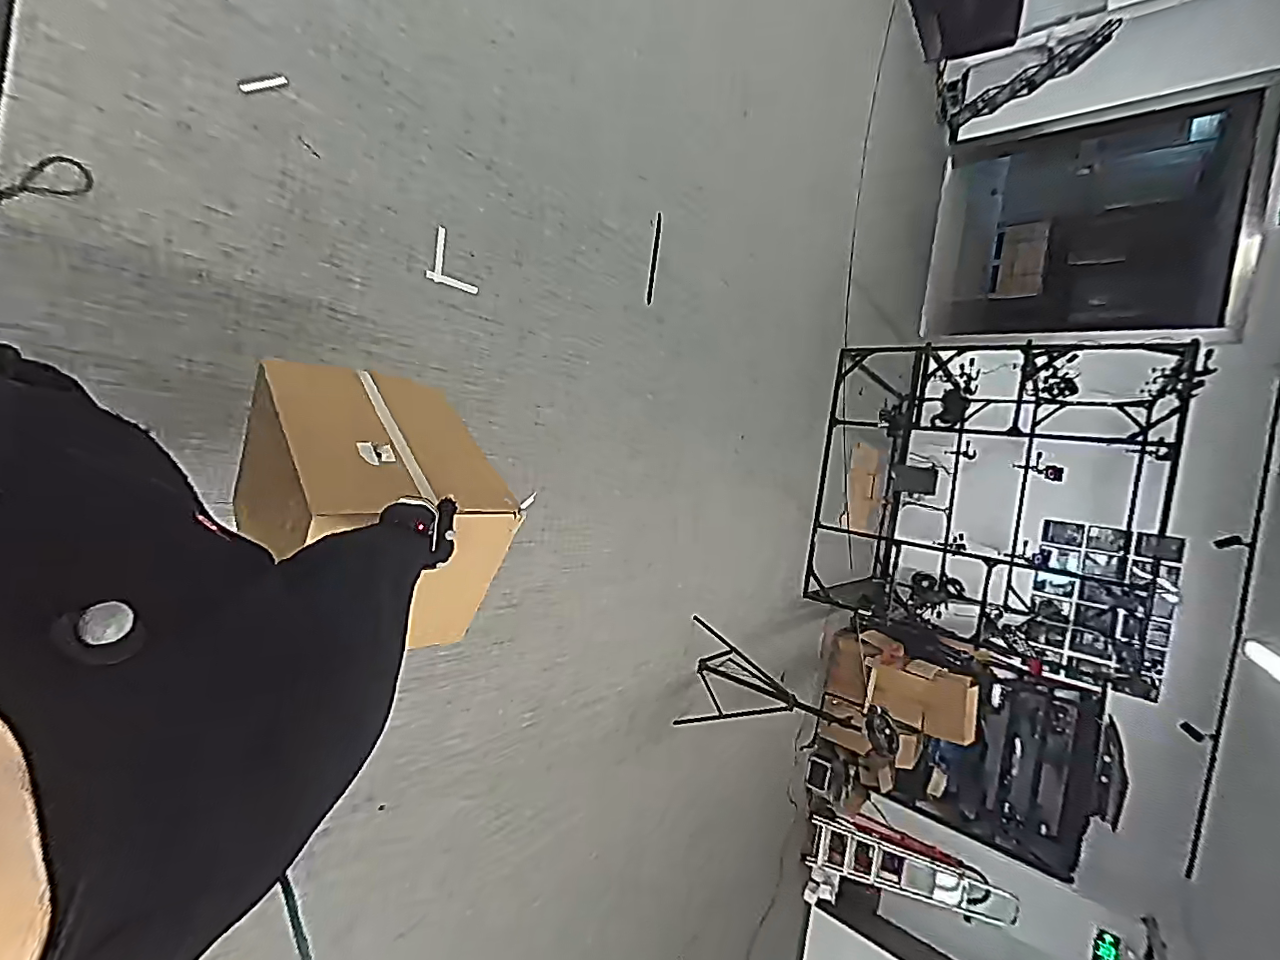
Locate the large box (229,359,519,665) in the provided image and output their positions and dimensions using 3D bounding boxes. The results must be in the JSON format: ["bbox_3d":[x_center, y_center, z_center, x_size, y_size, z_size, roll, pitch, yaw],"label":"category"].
[{"bbox_3d":[-0.488,0.046,0.960,0.320,0.408,0.320,3,128,-47],"label":"large box"}]
